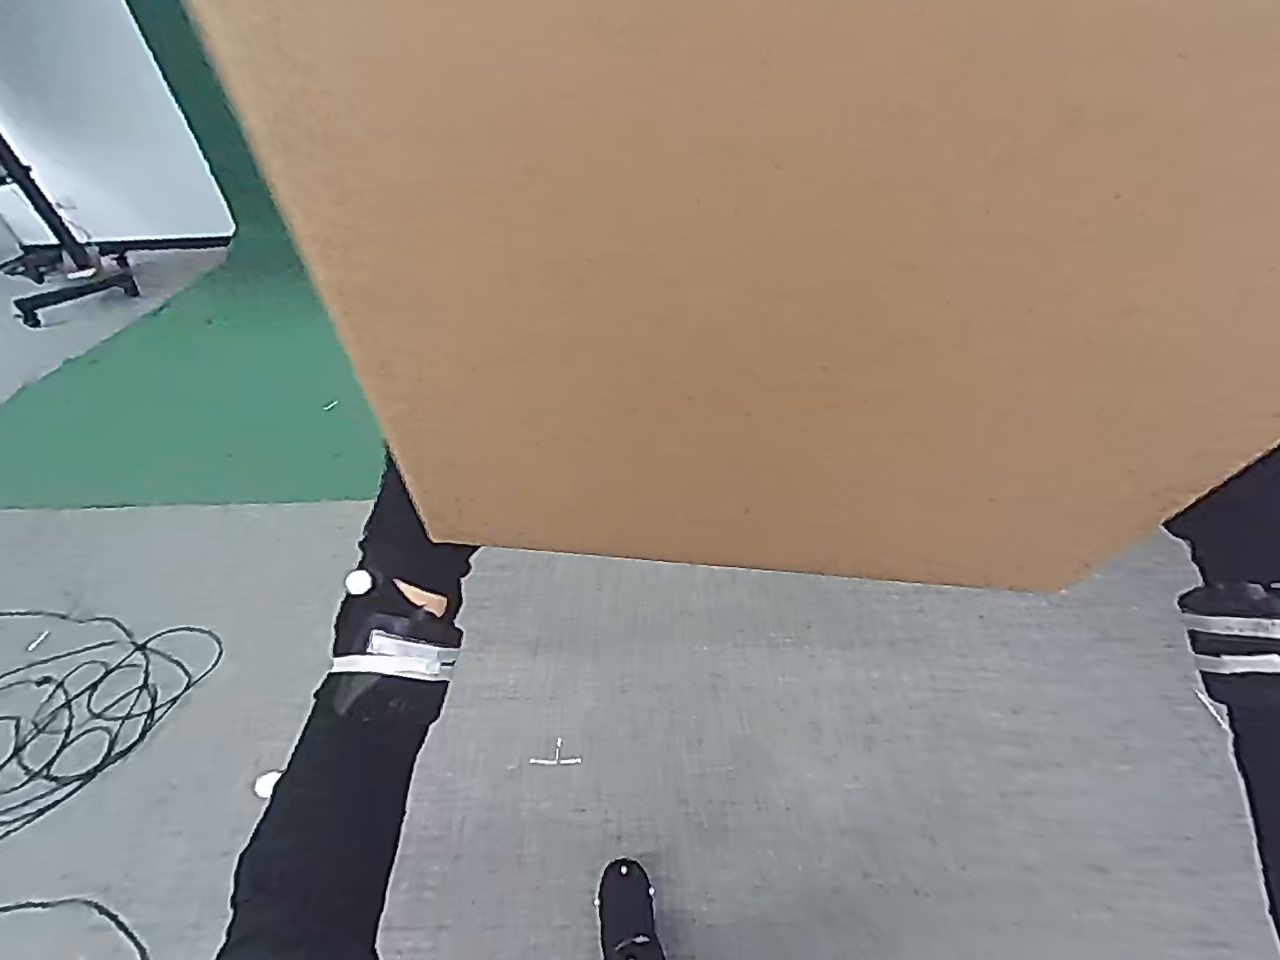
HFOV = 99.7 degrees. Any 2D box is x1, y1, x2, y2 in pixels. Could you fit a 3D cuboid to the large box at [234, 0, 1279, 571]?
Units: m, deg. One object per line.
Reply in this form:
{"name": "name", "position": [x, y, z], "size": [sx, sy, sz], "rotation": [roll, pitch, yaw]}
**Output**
{"name": "large box", "position": [0.083, -0.160, 0.329], "size": [0.408, 0.320, 0.320], "rotation": [5, 52, -1]}
